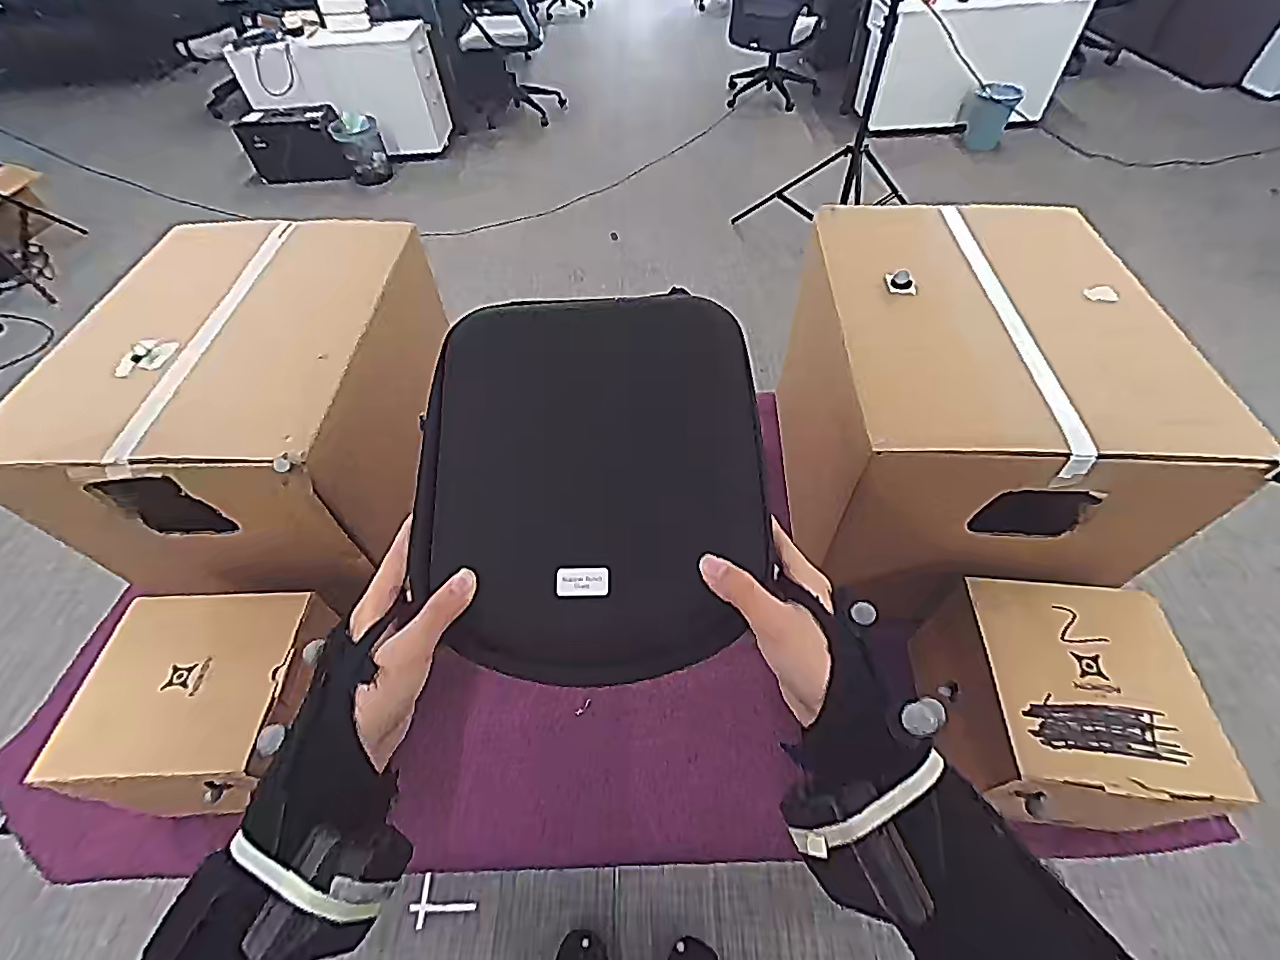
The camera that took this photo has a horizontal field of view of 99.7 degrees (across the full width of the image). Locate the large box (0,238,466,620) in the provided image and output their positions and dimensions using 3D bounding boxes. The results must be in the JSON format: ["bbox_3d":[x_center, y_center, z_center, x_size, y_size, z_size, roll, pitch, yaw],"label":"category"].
[{"bbox_3d":[-0.444,-0.065,0.710,0.320,0.320,0.408,-2,54,0],"label":"large box"}]
